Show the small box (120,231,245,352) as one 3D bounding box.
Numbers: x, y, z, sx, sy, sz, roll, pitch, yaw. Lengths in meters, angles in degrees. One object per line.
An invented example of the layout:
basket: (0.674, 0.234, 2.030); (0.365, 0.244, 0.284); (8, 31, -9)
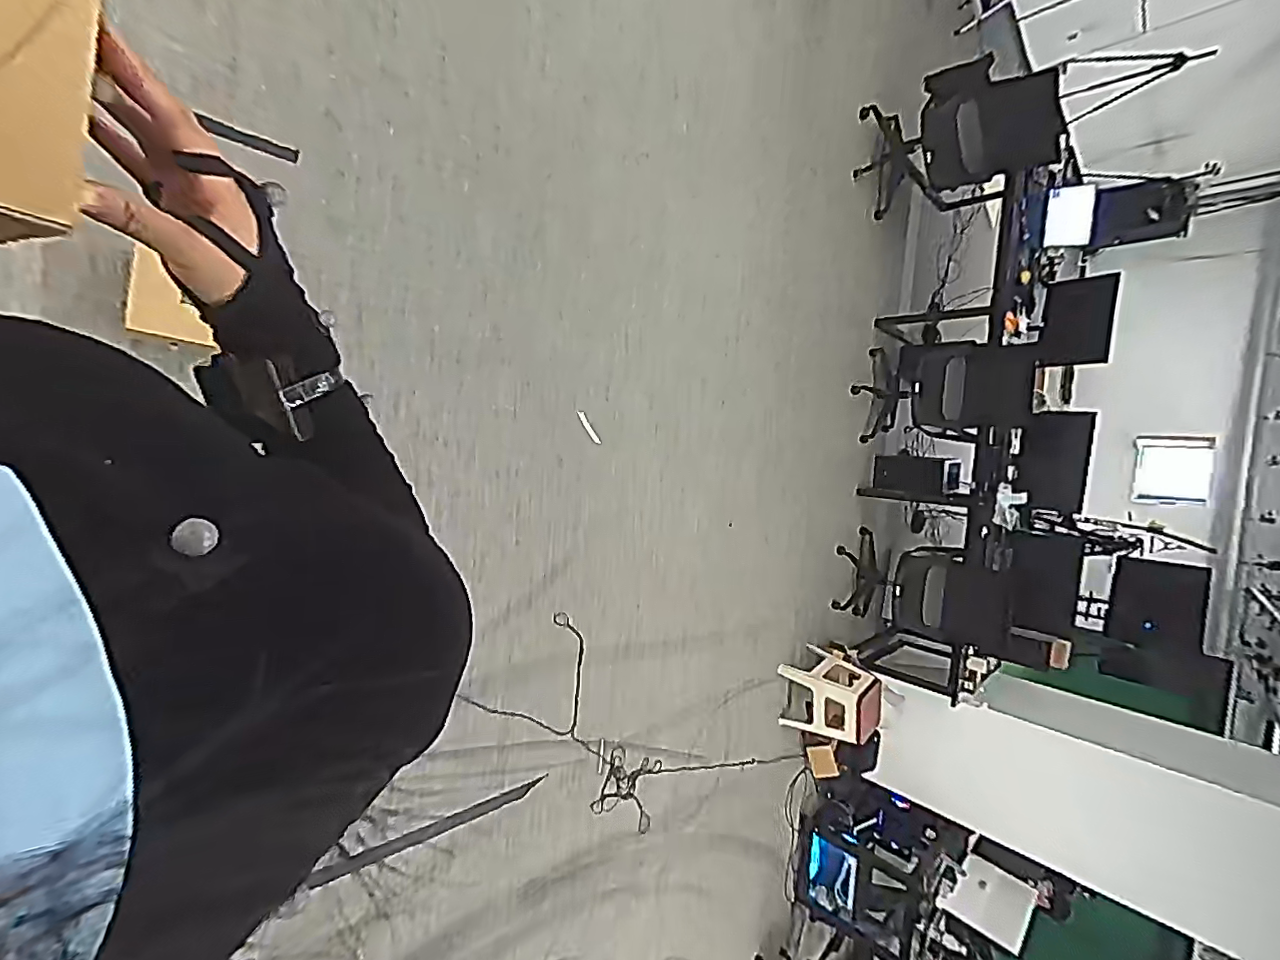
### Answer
small box: (-0.923, -0.365, 1.088); (0.168, 0.176, 0.179); (8, 89, -47)
